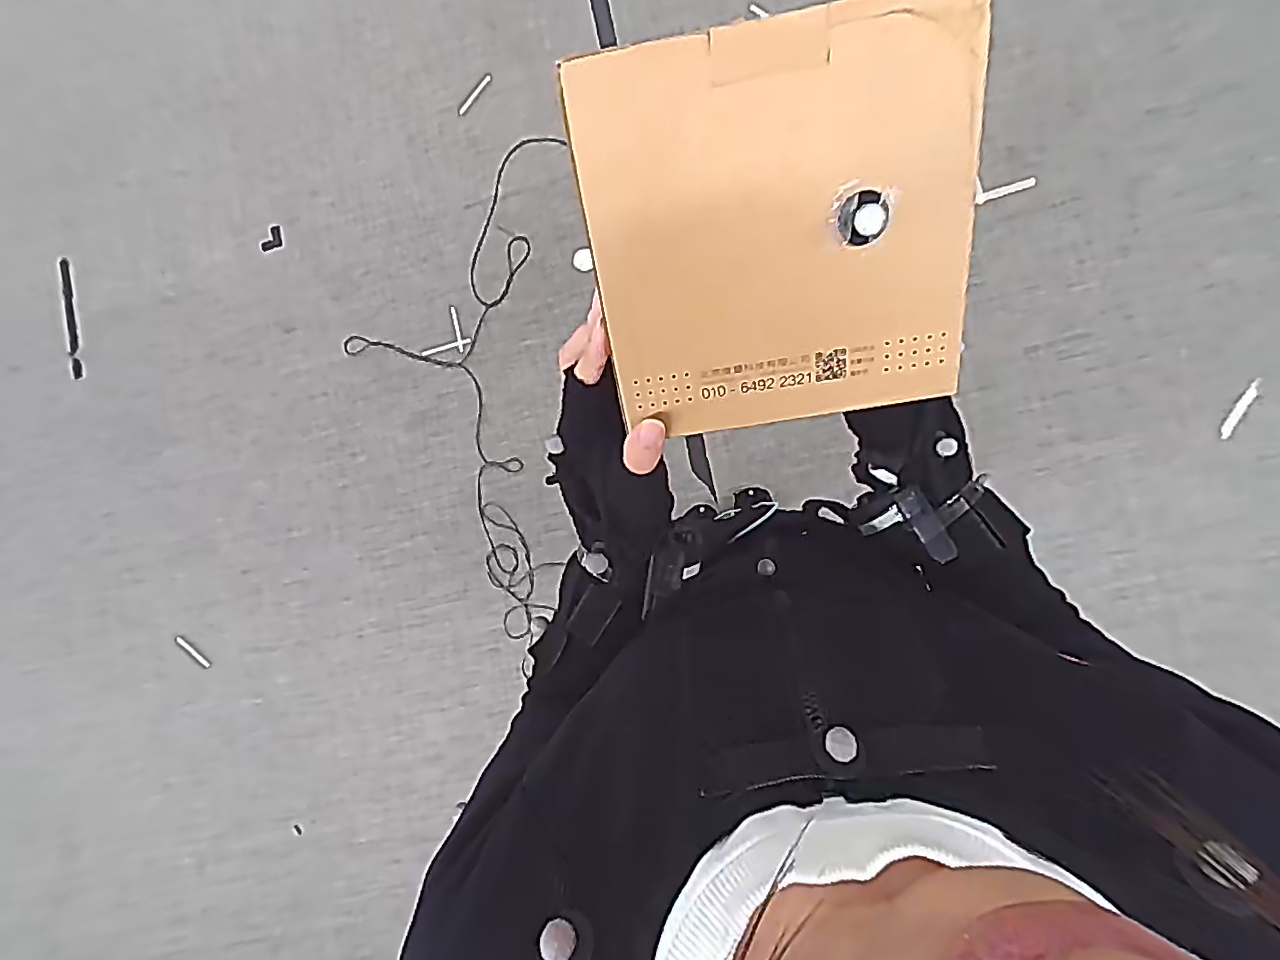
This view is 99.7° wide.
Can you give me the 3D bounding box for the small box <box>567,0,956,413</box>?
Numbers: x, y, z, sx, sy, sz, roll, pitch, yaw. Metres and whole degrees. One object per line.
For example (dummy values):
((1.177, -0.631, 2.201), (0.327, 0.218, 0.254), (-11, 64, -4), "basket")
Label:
((0.066, -0.146, 0.332), (0.168, 0.179, 0.176), (-7, 117, 6), "small box")
